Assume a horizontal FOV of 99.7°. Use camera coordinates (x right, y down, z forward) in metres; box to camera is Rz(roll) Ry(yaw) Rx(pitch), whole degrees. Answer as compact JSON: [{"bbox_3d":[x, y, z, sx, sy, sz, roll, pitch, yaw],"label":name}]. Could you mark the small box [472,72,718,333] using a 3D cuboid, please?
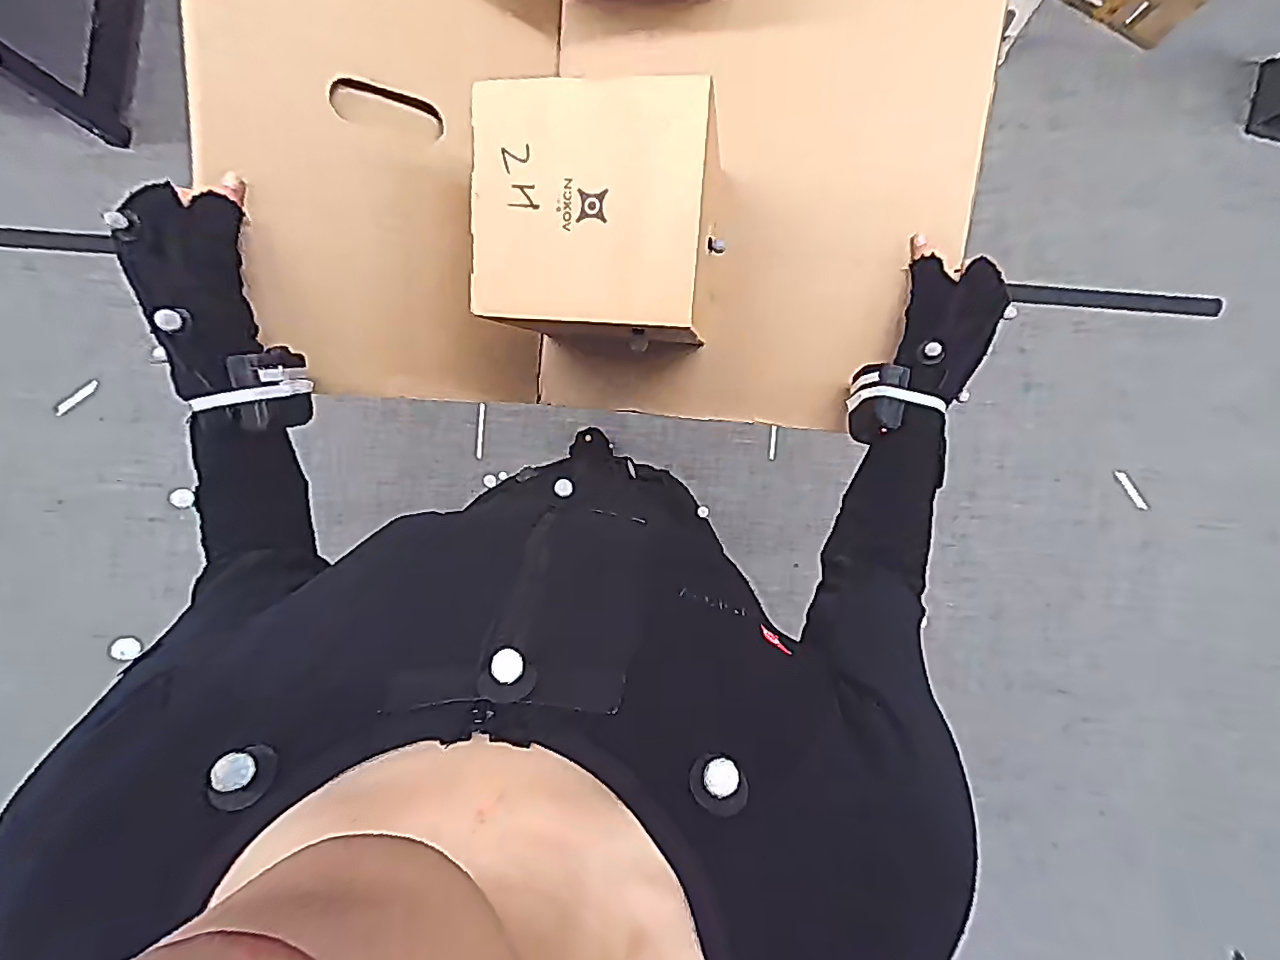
[{"bbox_3d":[-0.027,-0.224,0.477,0.179,0.176,0.168,7,101,10],"label":"small box"}]
